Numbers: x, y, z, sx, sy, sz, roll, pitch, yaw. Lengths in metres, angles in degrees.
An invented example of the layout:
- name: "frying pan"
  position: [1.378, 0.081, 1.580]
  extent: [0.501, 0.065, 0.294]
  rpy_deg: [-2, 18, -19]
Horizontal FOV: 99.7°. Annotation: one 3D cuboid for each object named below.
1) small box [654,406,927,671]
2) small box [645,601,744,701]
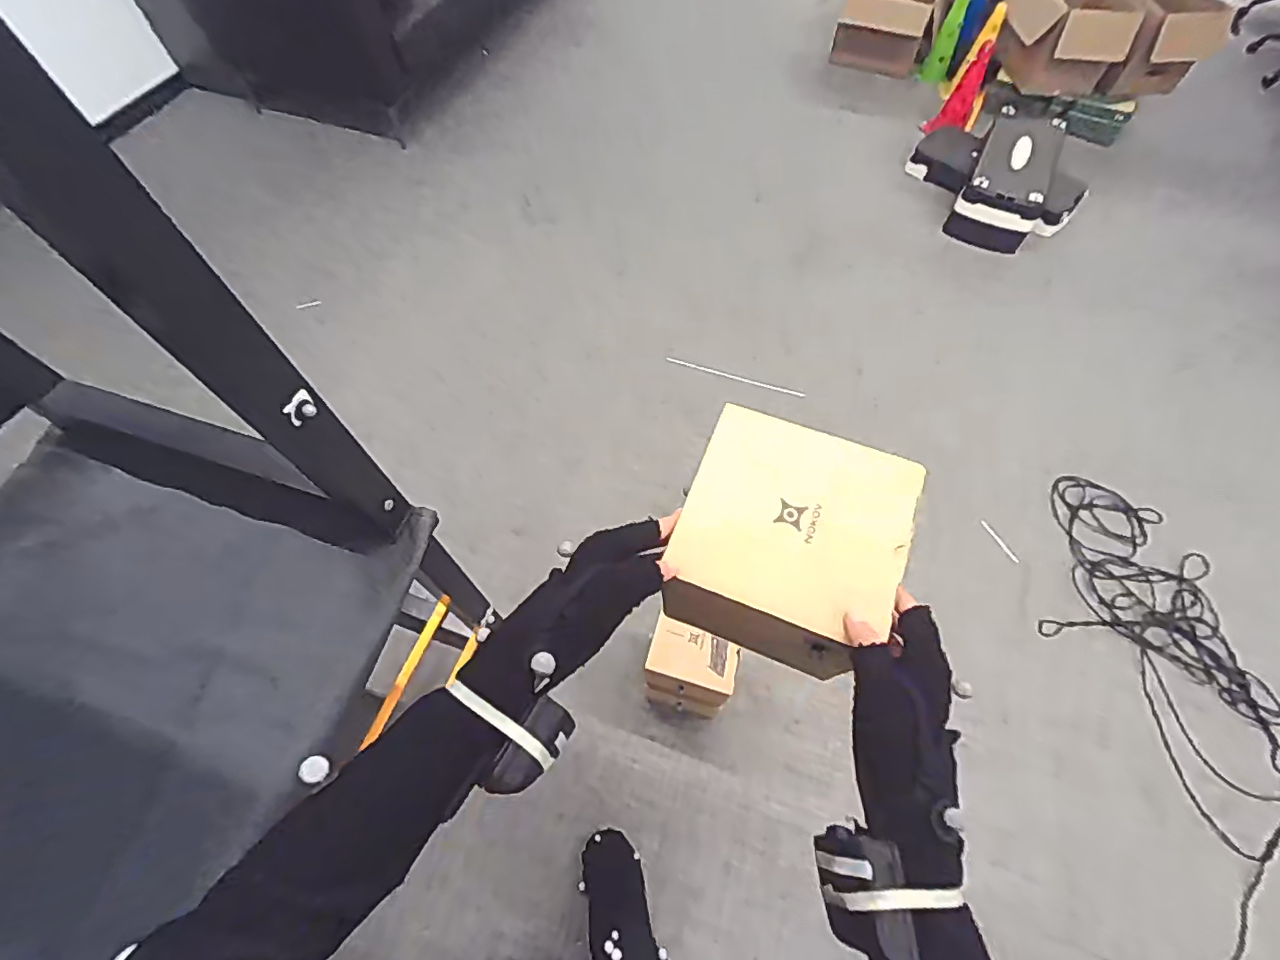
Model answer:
- name: "small box"
  position: [0.125, 0.064, 0.497]
  extent: [0.179, 0.176, 0.168]
  rpy_deg: [20, 70, 12]
- name: "small box"
  position: [0.118, 0.354, 1.136]
  extent: [0.179, 0.176, 0.168]
  rpy_deg: [14, 62, 10]
